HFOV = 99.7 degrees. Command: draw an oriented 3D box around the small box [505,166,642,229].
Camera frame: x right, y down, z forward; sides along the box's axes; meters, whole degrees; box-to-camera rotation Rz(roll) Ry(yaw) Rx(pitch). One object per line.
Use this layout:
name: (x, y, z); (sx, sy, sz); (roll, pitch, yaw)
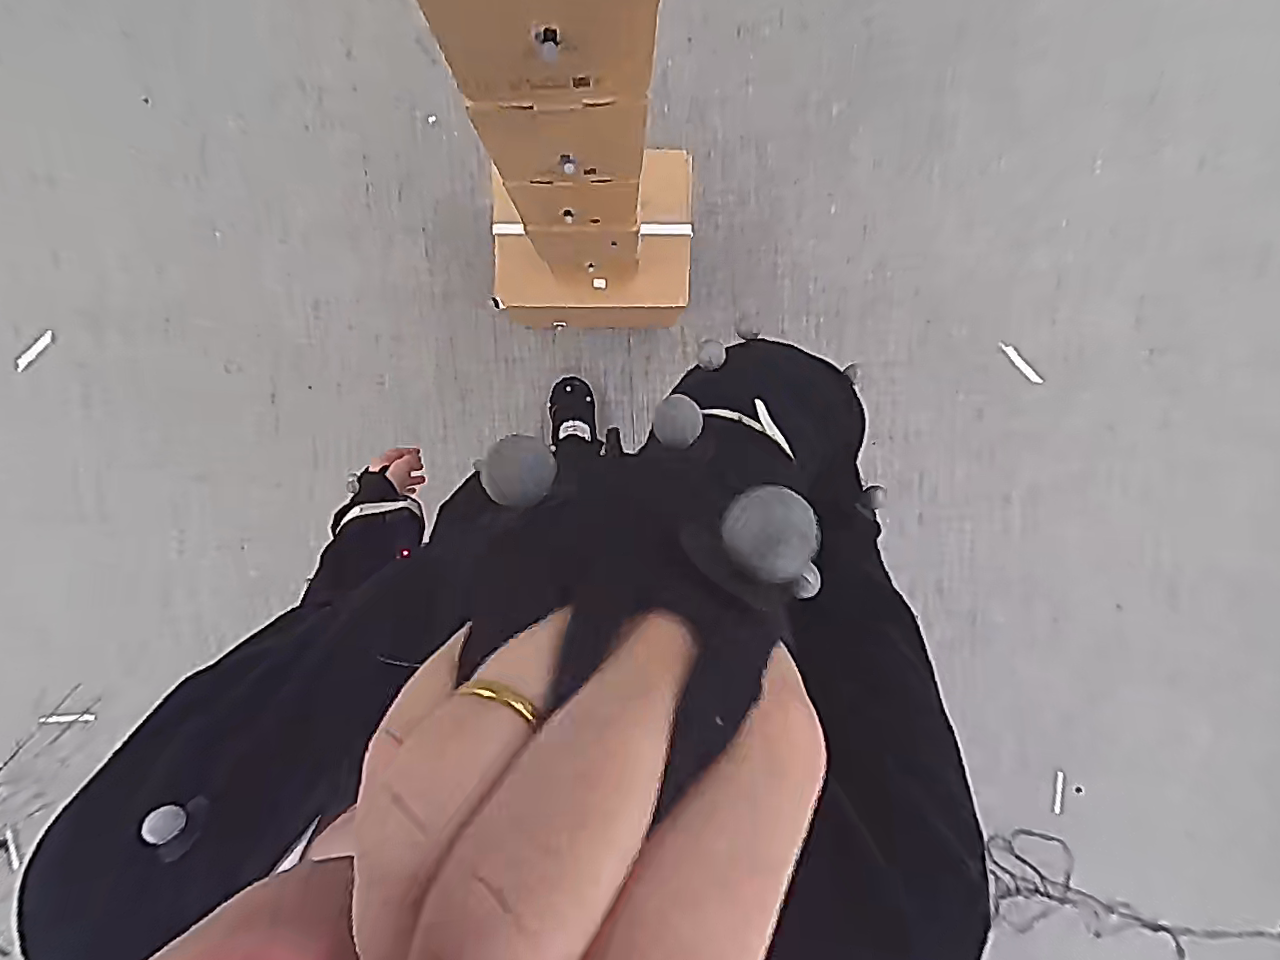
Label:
small box: (-0.085, -0.448, 0.711); (0.168, 0.176, 0.179); (-2, 99, -2)

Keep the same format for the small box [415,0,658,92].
small box: (-0.072, -0.408, 0.385); (0.168, 0.176, 0.179); (-4, 100, -2)

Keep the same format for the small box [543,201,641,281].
small box: (-0.090, -0.484, 1.036); (0.179, 0.176, 0.168); (-3, 99, -3)

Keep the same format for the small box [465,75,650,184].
small box: (-0.080, -0.427, 0.548); (0.168, 0.176, 0.179); (-4, 99, -1)
